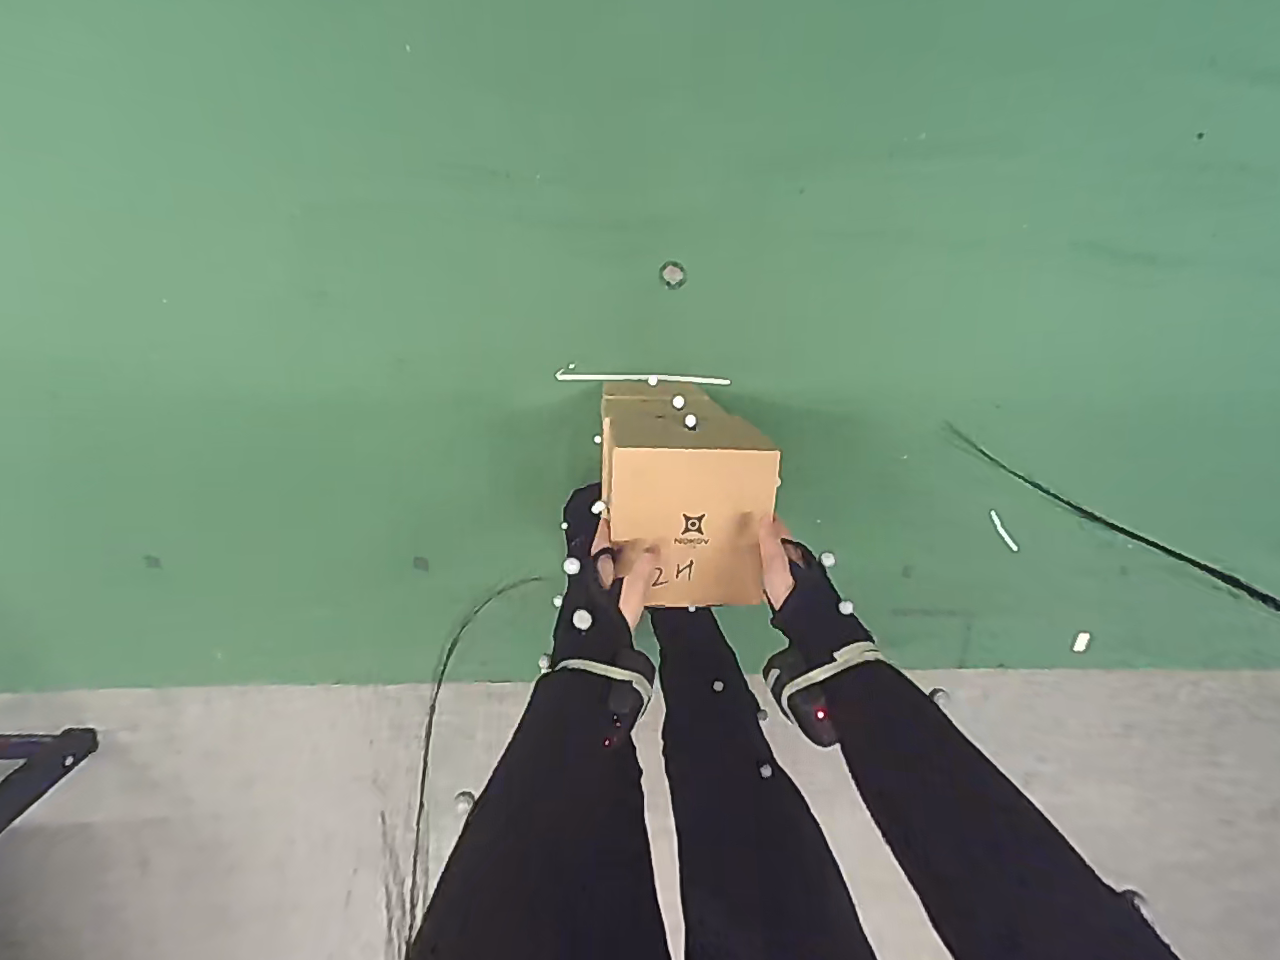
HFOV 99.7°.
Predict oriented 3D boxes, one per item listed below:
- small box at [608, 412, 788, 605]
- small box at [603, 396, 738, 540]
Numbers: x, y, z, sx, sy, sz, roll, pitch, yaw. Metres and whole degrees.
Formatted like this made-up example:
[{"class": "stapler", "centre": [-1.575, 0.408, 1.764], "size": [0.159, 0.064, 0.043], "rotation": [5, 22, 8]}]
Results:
[{"class": "small box", "centre": [0.051, 0.023, 0.615], "size": [0.168, 0.176, 0.179], "rotation": [3, 107, -5]}, {"class": "small box", "centre": [0.032, -0.022, 0.773], "size": [0.168, 0.176, 0.179], "rotation": [1, 107, -5]}]
